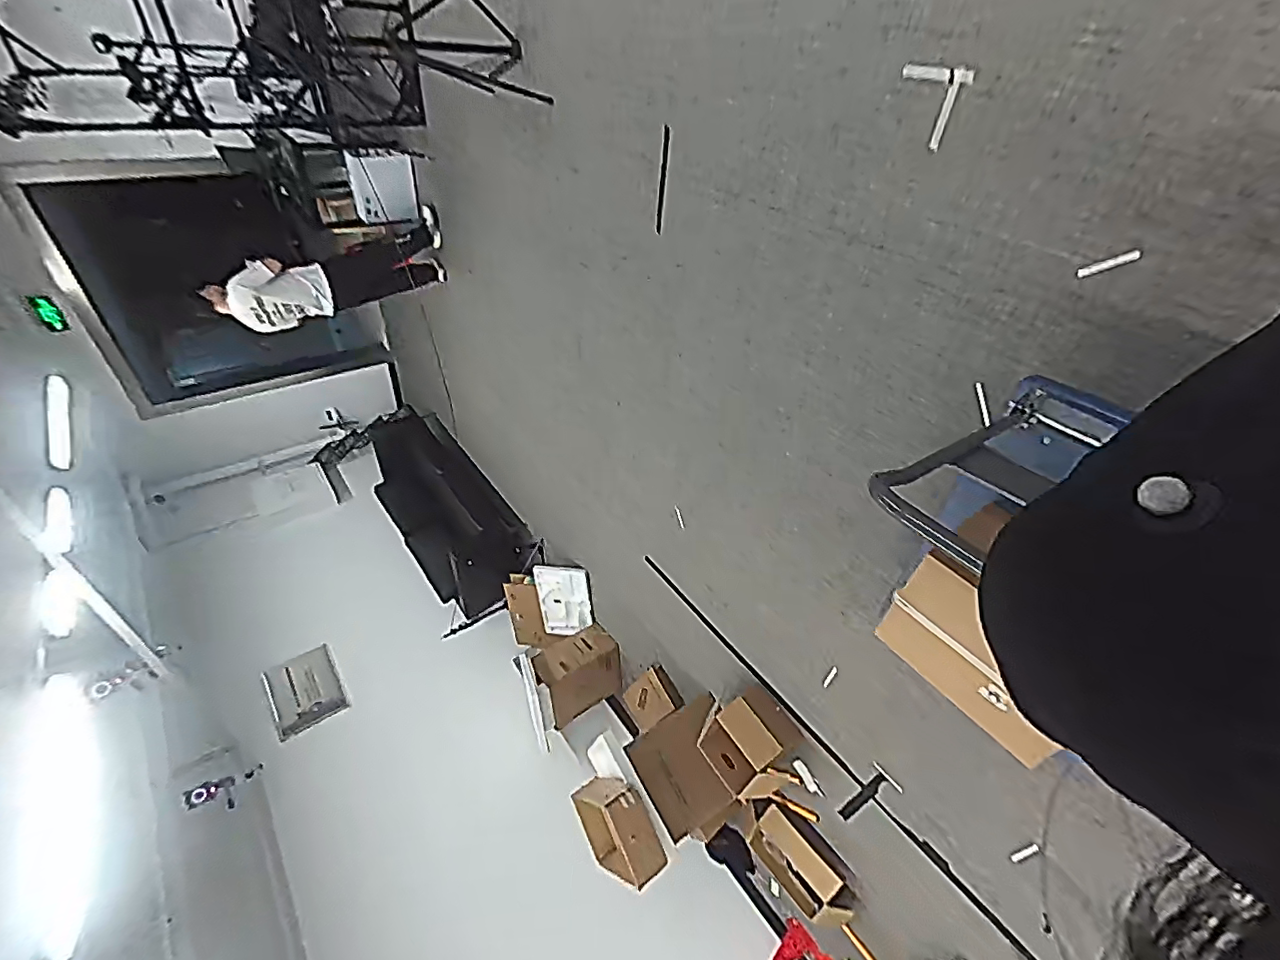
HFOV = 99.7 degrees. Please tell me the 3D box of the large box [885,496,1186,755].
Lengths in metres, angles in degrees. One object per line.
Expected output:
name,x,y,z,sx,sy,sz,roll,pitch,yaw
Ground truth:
large box,0.861,0.304,1.223,0.408,0.320,0.320,42,142,33
